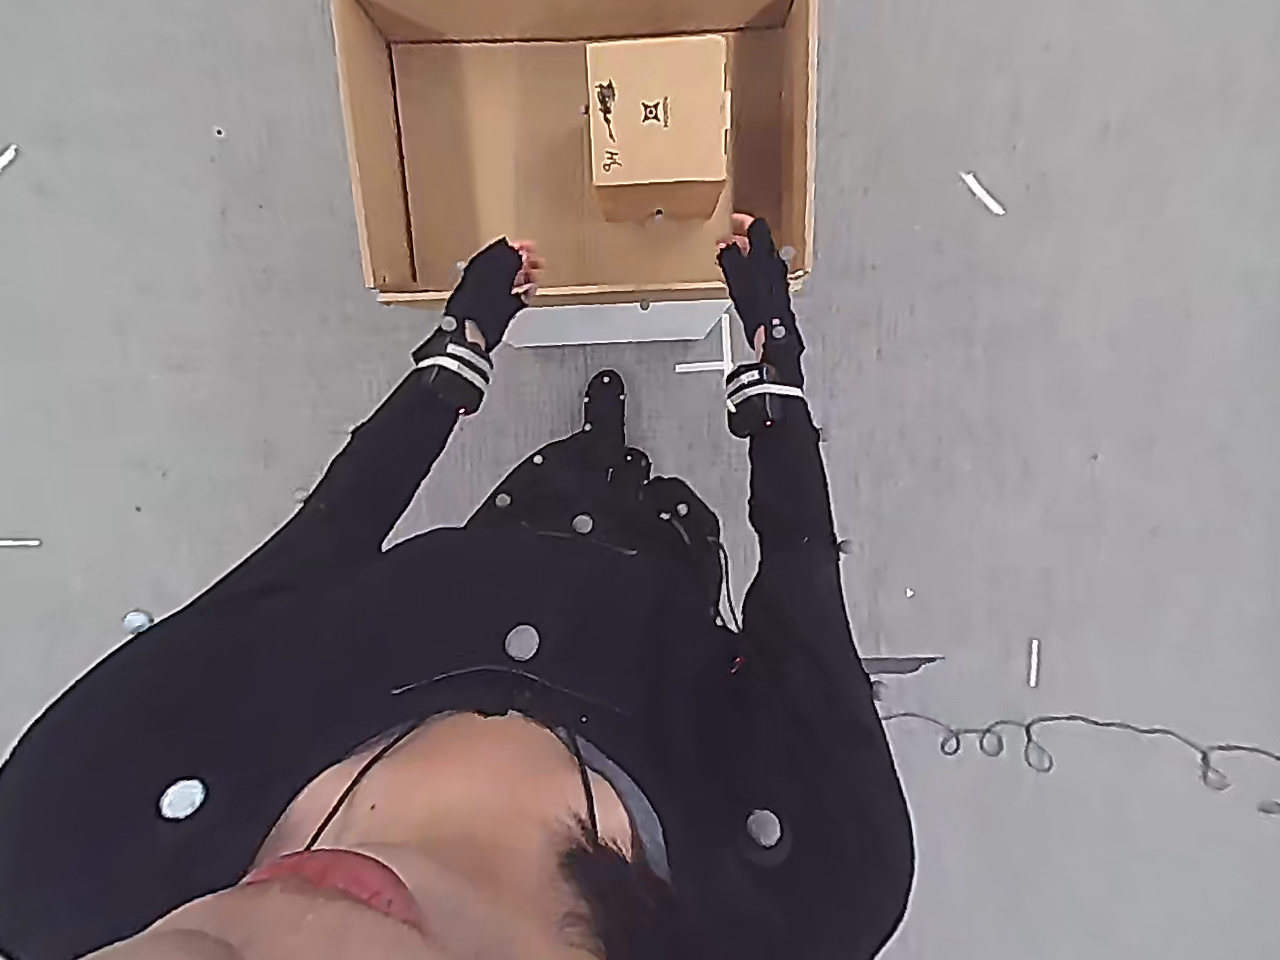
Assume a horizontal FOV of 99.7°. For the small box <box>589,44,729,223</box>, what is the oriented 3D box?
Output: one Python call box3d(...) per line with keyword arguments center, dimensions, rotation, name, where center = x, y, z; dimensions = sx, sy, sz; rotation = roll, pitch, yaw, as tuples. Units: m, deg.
box3d(center=(0.024, -0.474, 0.763), dimensions=(0.179, 0.176, 0.168), rotation=(-2, 100, 1), name="small box")
